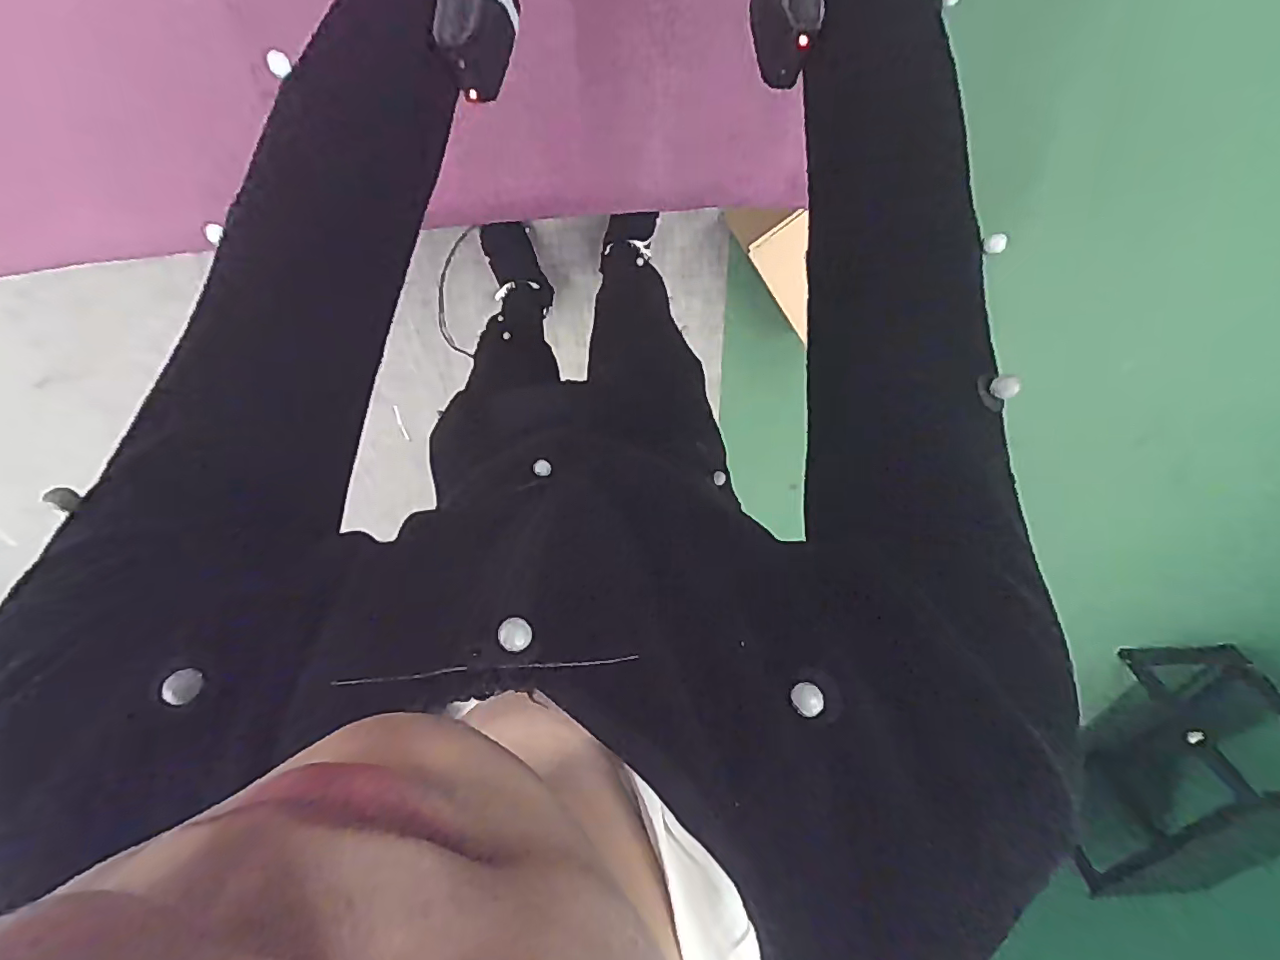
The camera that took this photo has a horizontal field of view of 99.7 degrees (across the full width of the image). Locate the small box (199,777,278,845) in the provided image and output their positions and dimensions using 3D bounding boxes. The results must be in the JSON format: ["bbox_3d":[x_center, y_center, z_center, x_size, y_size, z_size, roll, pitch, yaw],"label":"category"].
[{"bbox_3d":[-1.532,1.268,2.075,0.168,0.176,0.179,33,121,-26],"label":"small box"}]

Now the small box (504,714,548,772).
[{"bbox_3d":[-0.498,1.156,2.377,0.168,0.176,0.179,5,128,-3],"label":"small box"}]
